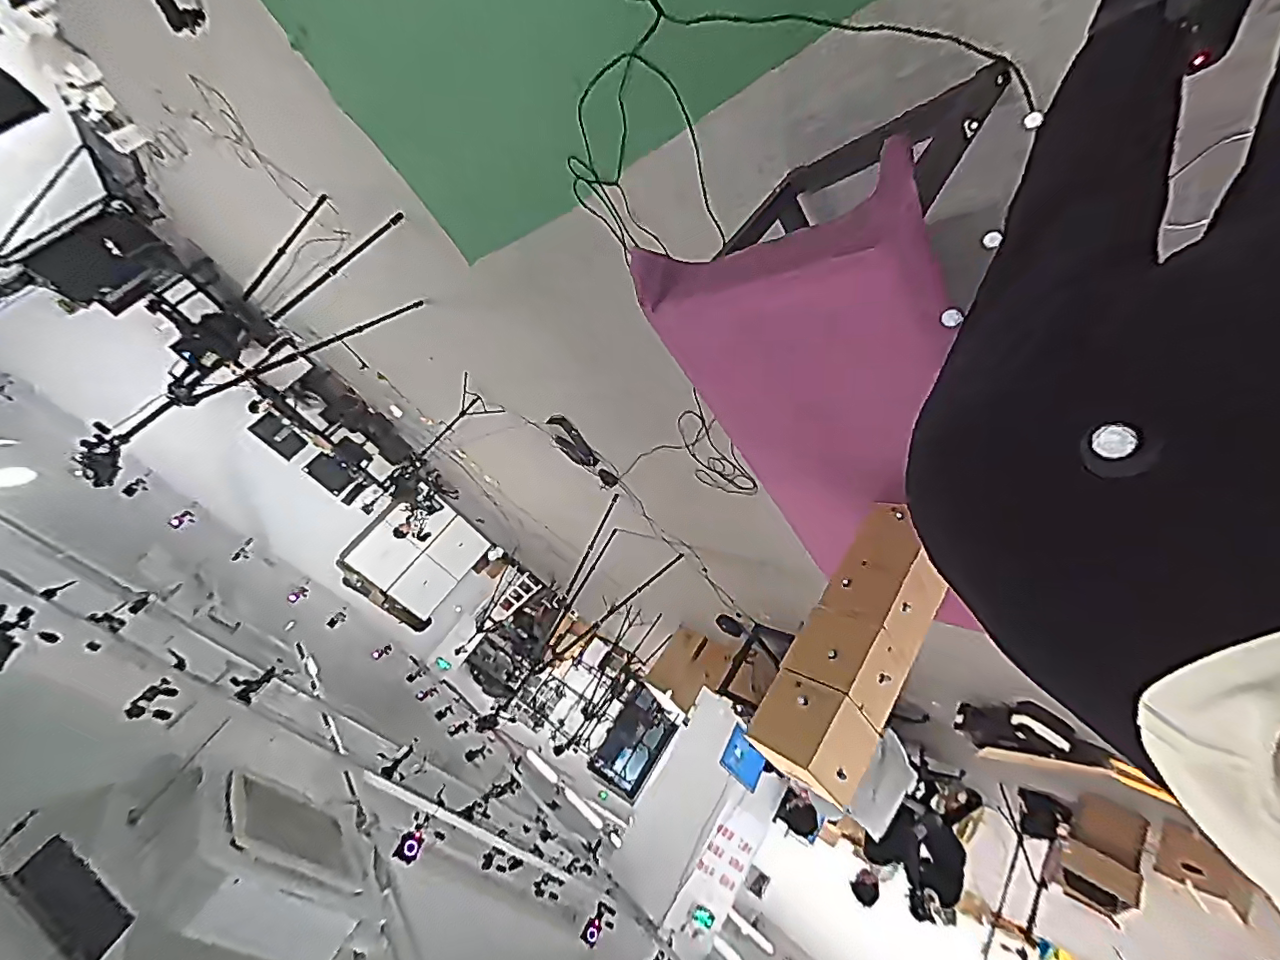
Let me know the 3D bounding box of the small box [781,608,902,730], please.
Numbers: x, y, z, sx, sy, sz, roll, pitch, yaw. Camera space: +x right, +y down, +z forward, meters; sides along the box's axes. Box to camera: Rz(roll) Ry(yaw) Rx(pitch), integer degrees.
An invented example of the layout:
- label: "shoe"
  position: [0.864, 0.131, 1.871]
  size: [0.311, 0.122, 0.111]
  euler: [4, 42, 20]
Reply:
- label: "small box"
  position: [0.451, 0.406, 1.191]
  size: [0.179, 0.176, 0.168]
  euler: [3, 139, 54]

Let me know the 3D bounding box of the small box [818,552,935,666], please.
- label: "small box"
  position: [0.549, 0.288, 1.248]
  size: [0.168, 0.176, 0.179]
  euler: [5, 141, 53]

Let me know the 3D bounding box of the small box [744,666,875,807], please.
- label: "small box"
  position: [0.357, 0.525, 1.125]
  size: [0.168, 0.176, 0.179]
  euler: [4, 139, 55]
